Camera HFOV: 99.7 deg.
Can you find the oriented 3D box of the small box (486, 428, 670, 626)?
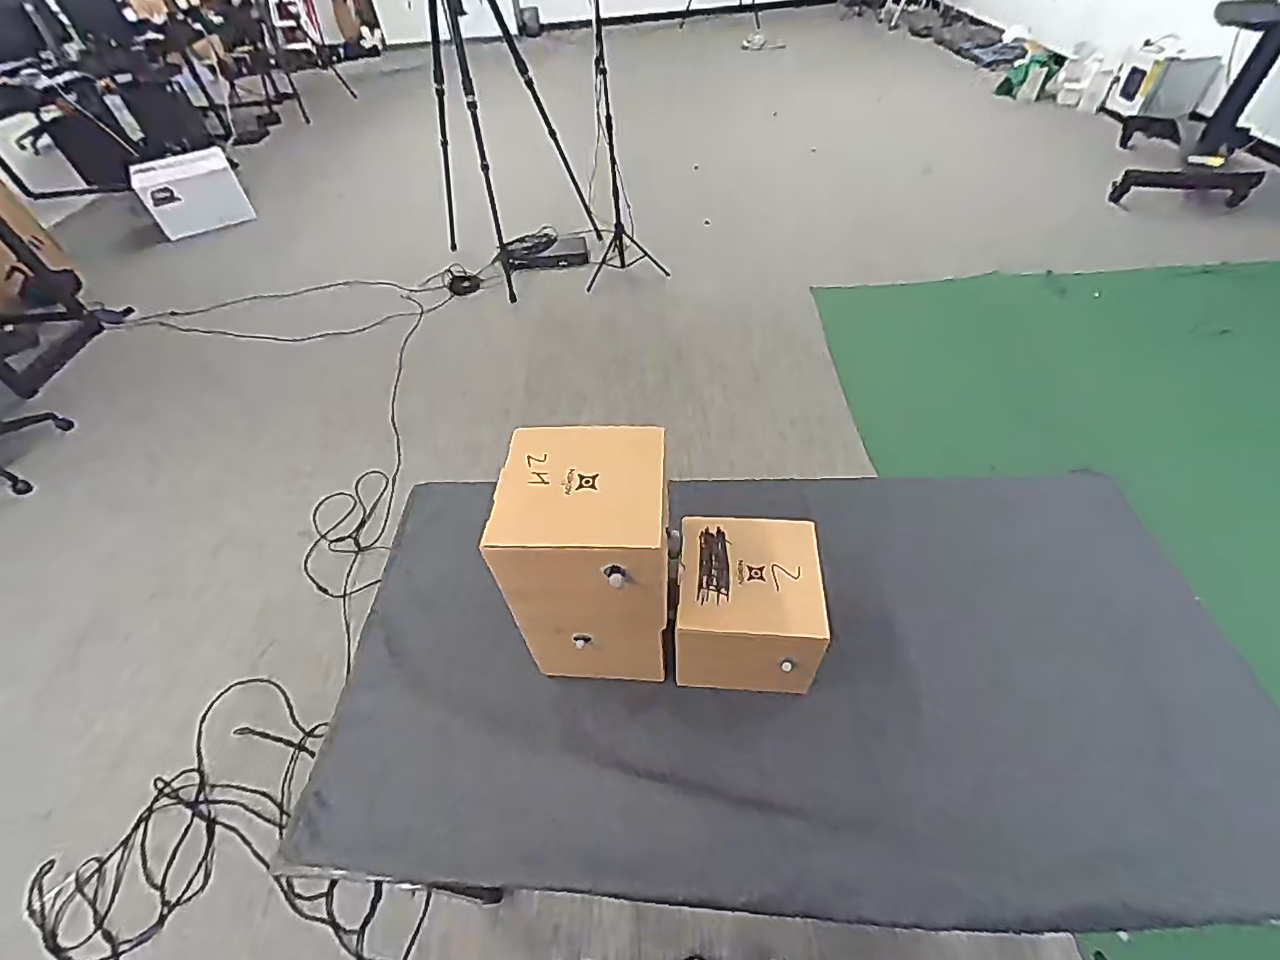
[{"bbox_3d":[-0.055,0.057,0.628,0.179,0.176,0.168,0,48,4],"label":"small box"}]
